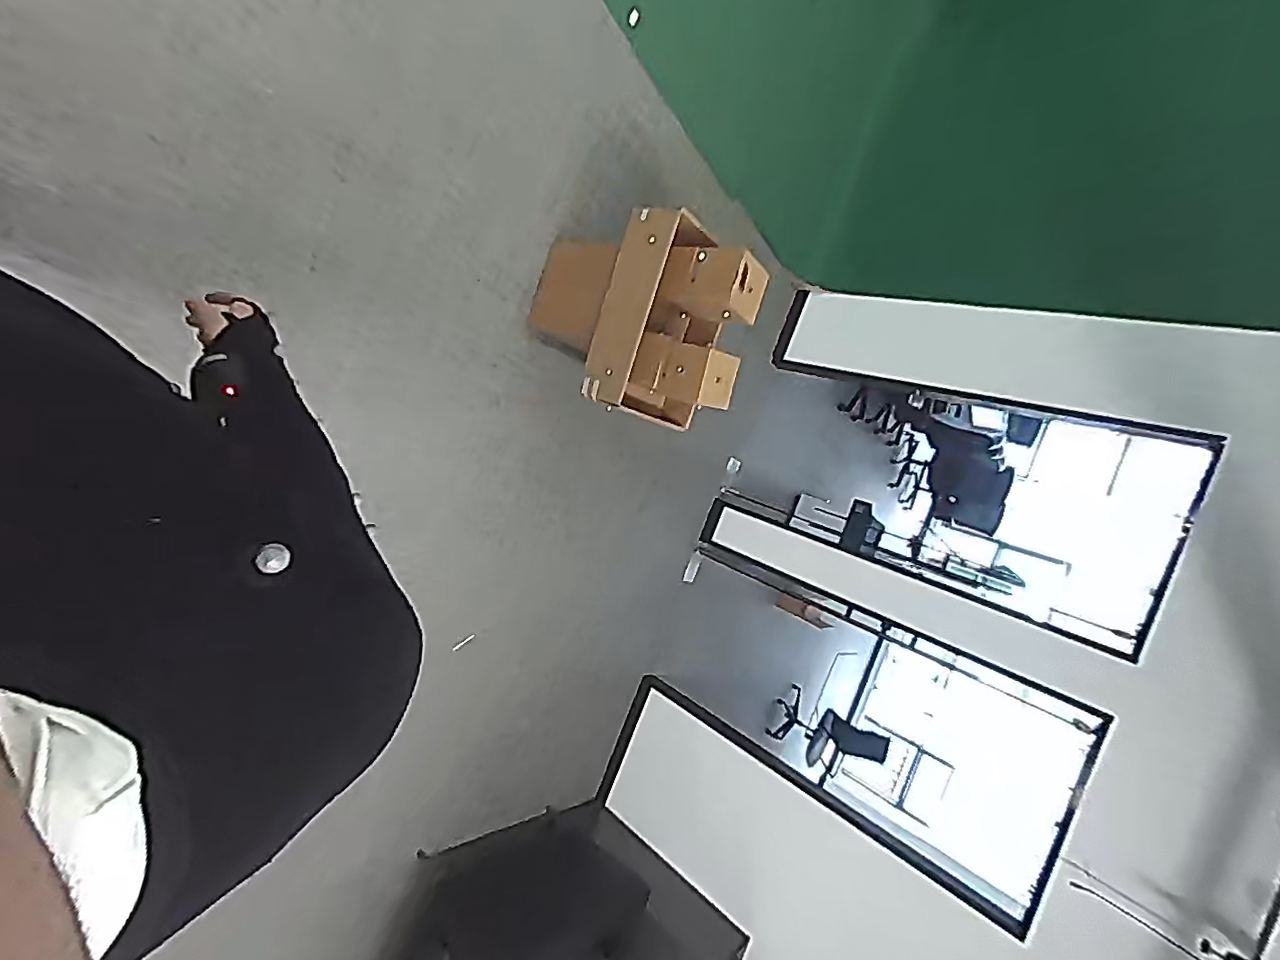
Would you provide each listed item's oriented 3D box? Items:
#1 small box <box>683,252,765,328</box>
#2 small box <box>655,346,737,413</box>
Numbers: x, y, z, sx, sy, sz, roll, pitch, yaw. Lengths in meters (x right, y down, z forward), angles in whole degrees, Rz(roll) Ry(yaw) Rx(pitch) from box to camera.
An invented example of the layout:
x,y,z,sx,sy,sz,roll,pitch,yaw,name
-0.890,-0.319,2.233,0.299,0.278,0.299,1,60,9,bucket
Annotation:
x,y,z,sx,sy,sz,roll,pitch,yaw,name
0.255,-0.583,1.662,0.179,0.176,0.168,14,95,-54,small box
0.171,-0.315,1.684,0.179,0.176,0.168,1,106,-51,small box
